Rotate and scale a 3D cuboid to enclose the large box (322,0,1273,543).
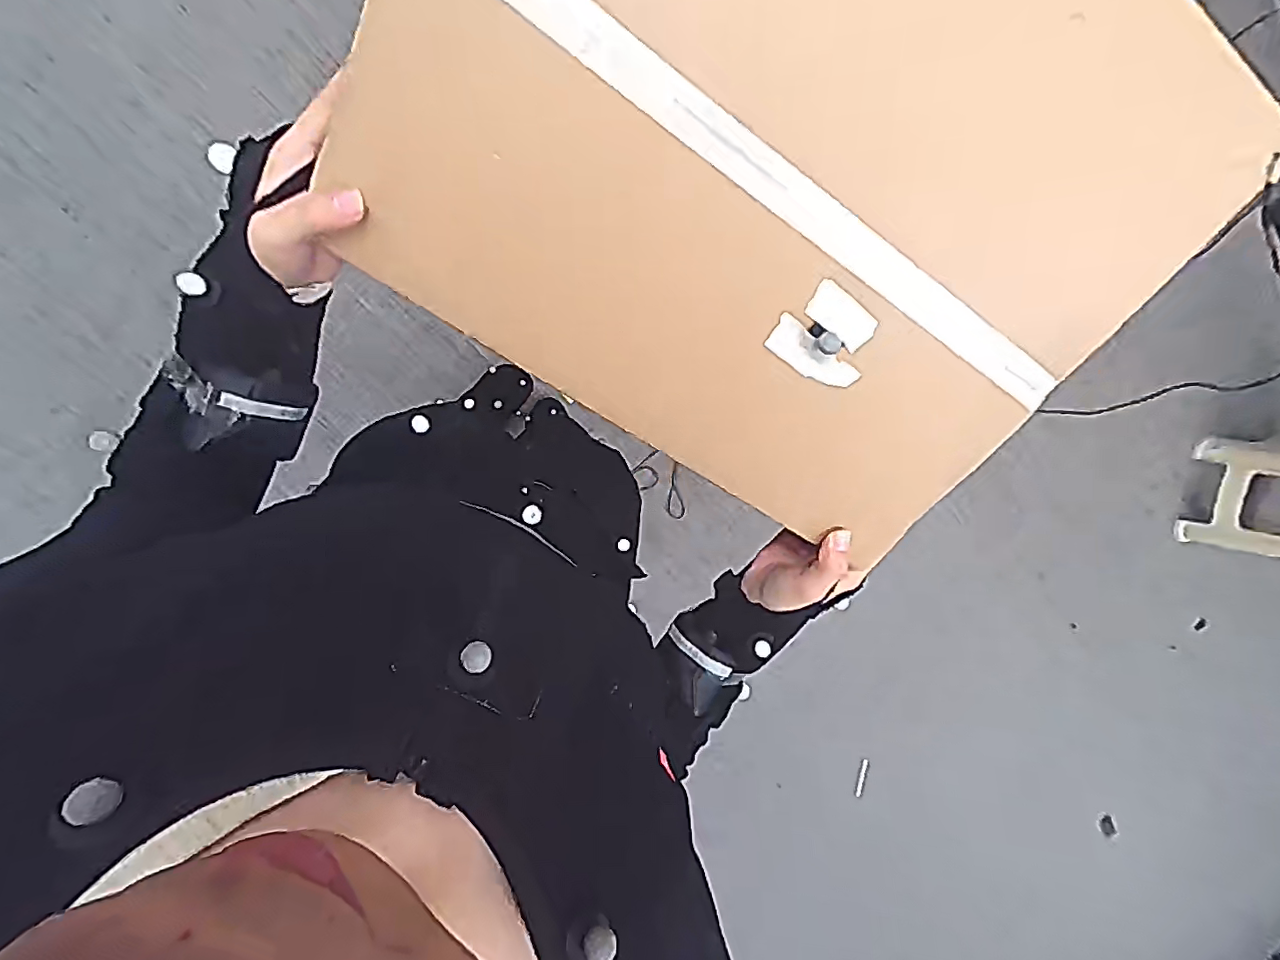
[{"bbox_3d":[0.069,-0.225,0.412,0.408,0.320,0.320,29,115,-15],"label":"large box"}]
